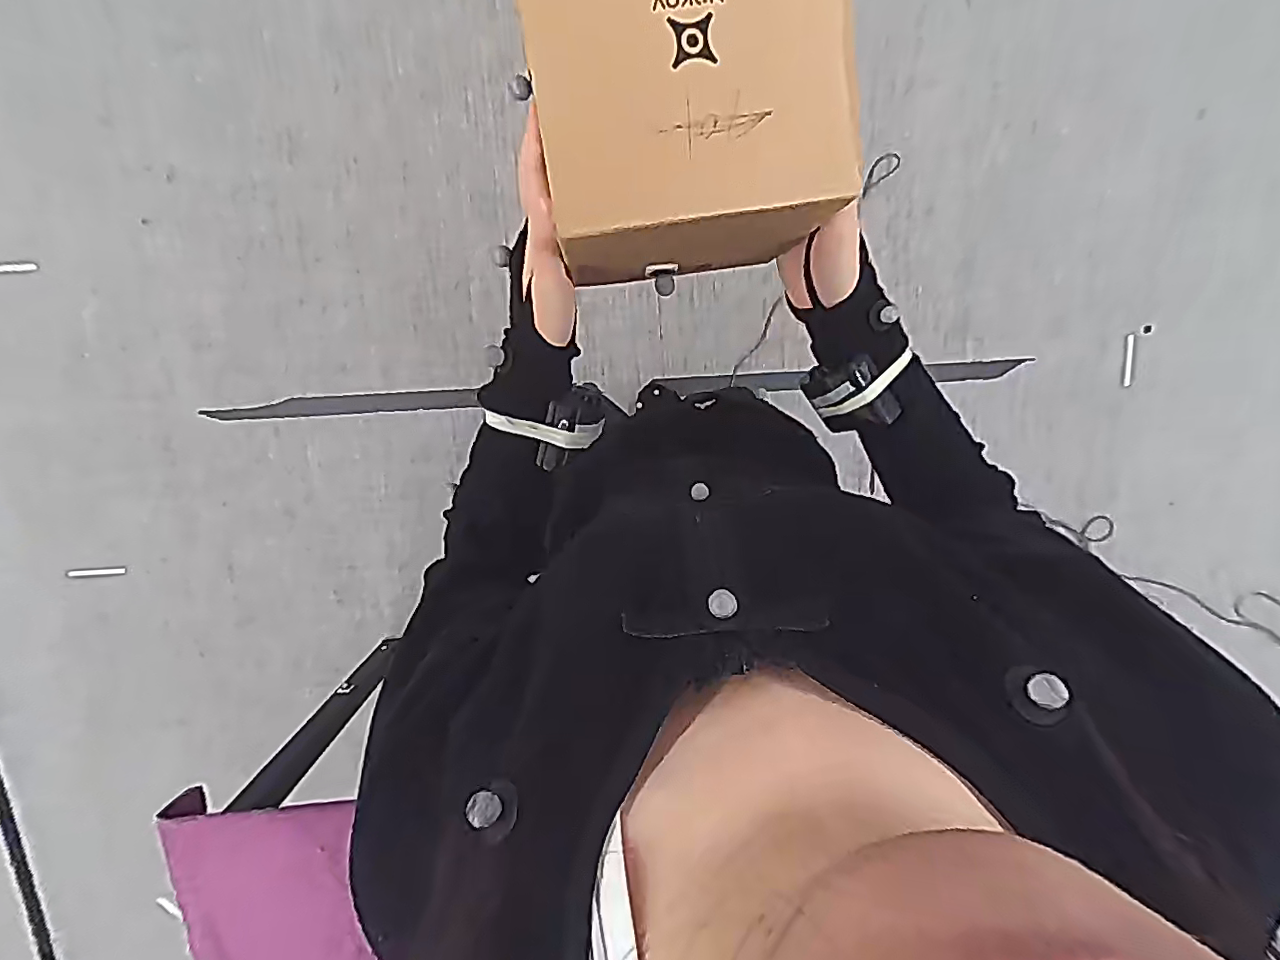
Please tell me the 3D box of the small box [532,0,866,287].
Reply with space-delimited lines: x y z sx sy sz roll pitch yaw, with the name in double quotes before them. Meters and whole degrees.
"small box" 0.024 -0.240 0.353 0.168 0.176 0.179 -10 101 -2
